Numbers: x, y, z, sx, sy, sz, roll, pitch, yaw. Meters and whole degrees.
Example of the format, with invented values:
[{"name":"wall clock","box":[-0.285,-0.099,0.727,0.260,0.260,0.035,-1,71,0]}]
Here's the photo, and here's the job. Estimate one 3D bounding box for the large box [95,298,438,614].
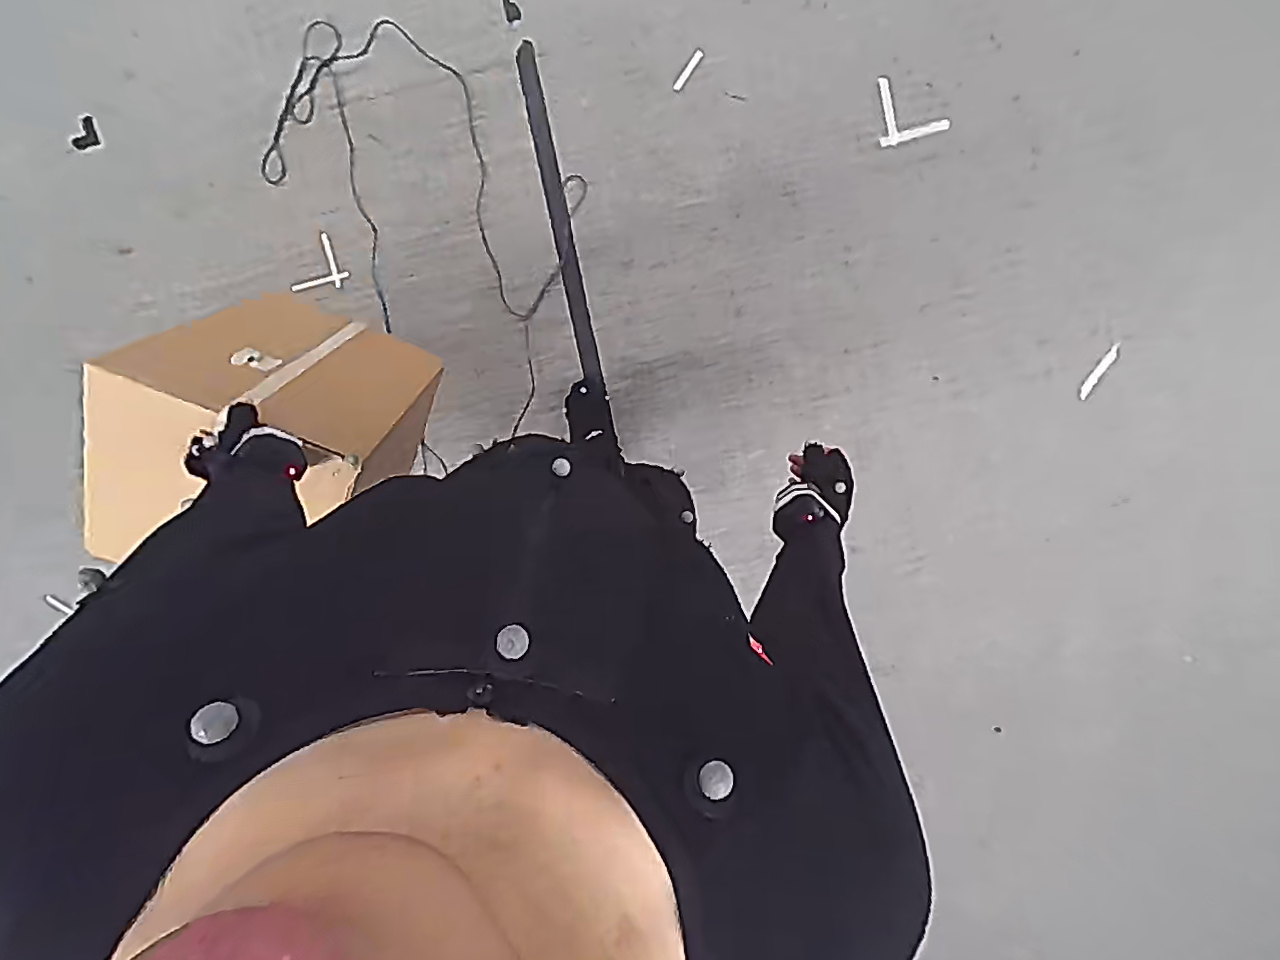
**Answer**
[{"name":"large box","box":[-0.583,-0.056,0.913,0.320,0.408,0.320,20,119,-14]}]
